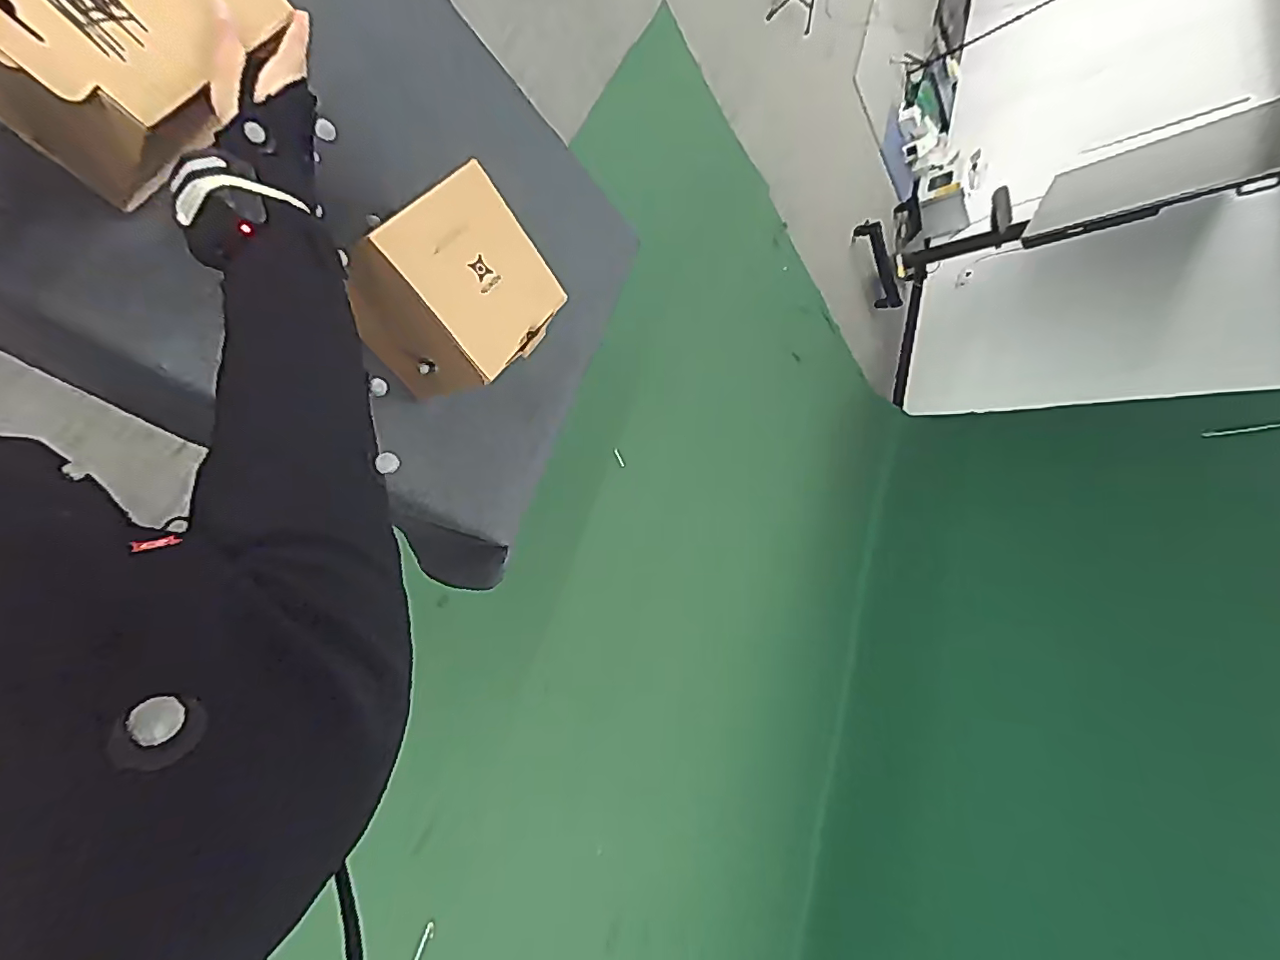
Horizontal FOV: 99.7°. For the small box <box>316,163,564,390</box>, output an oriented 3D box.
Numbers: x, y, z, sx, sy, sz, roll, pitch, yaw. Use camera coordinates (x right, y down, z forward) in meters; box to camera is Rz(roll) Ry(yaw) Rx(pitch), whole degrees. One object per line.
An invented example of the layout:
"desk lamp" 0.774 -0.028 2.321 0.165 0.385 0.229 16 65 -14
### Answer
"small box" -0.231 -0.222 0.636 0.179 0.176 0.168 52 53 -32
